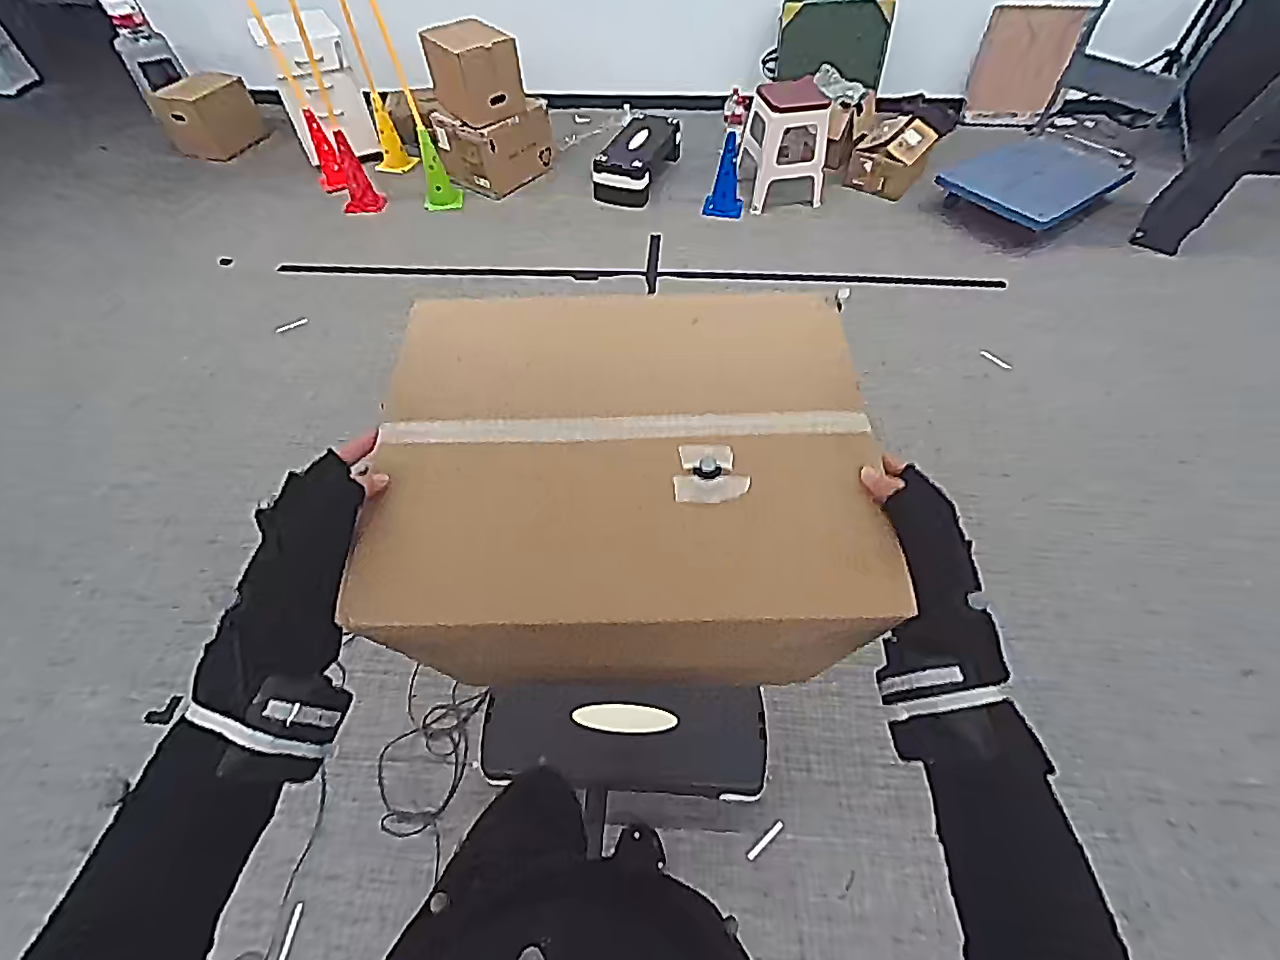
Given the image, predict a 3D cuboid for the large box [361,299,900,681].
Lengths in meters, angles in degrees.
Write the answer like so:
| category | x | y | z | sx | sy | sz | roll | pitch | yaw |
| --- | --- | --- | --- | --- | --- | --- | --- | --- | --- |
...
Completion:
| category | x | y | z | sx | sy | sz | roll | pitch | yaw |
| --- | --- | --- | --- | --- | --- | --- | --- | --- | --- |
| large box | -0.009 | 0.031 | 0.593 | 0.408 | 0.320 | 0.320 | -1 | 62 | 0 |
